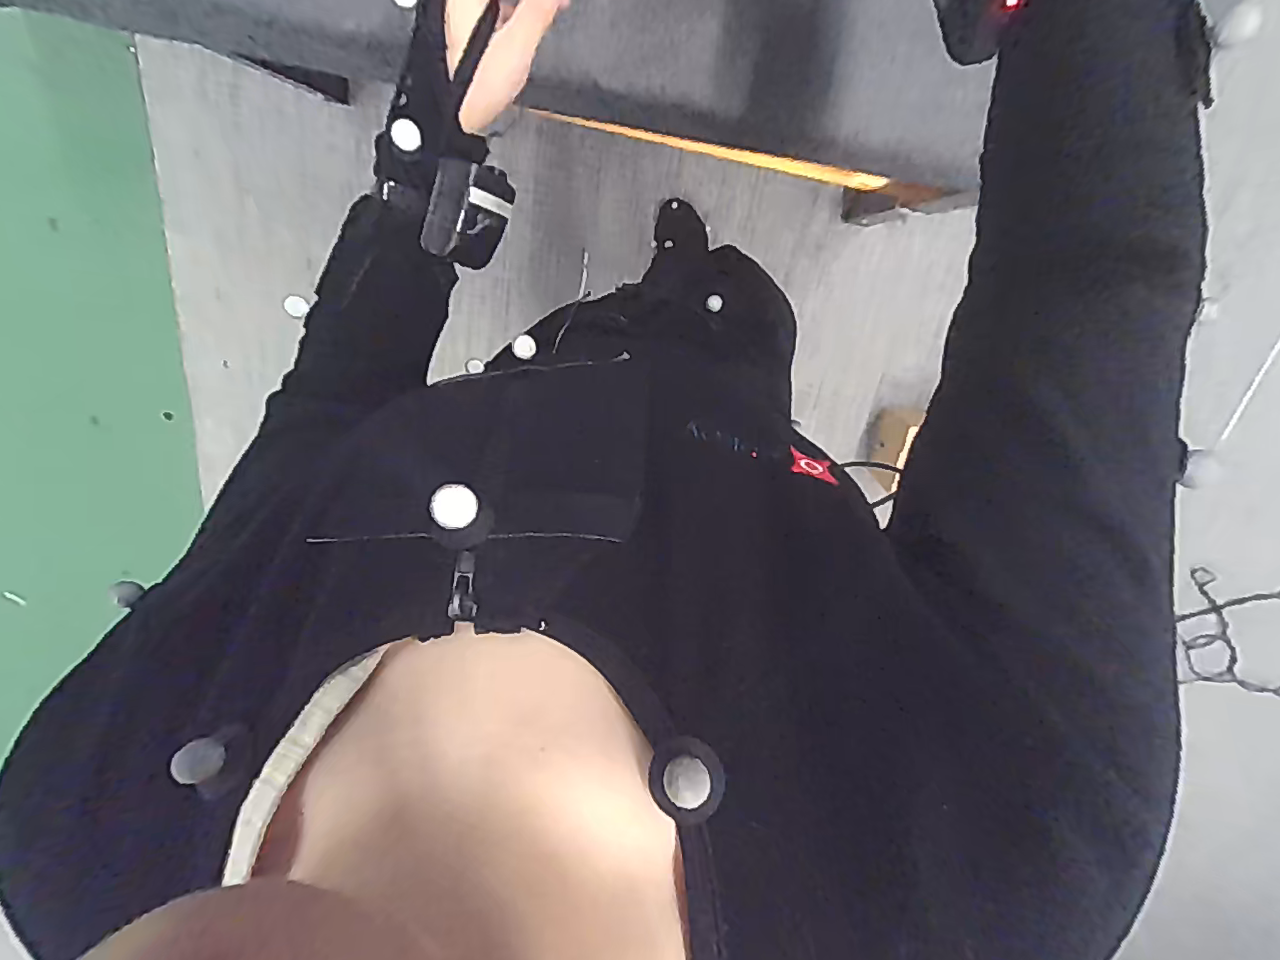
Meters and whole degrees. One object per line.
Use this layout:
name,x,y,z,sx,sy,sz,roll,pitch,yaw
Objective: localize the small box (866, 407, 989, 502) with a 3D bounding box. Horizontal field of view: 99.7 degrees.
small box,0.649,-0.065,1.243,0.179,0.176,0.168,6,112,2
